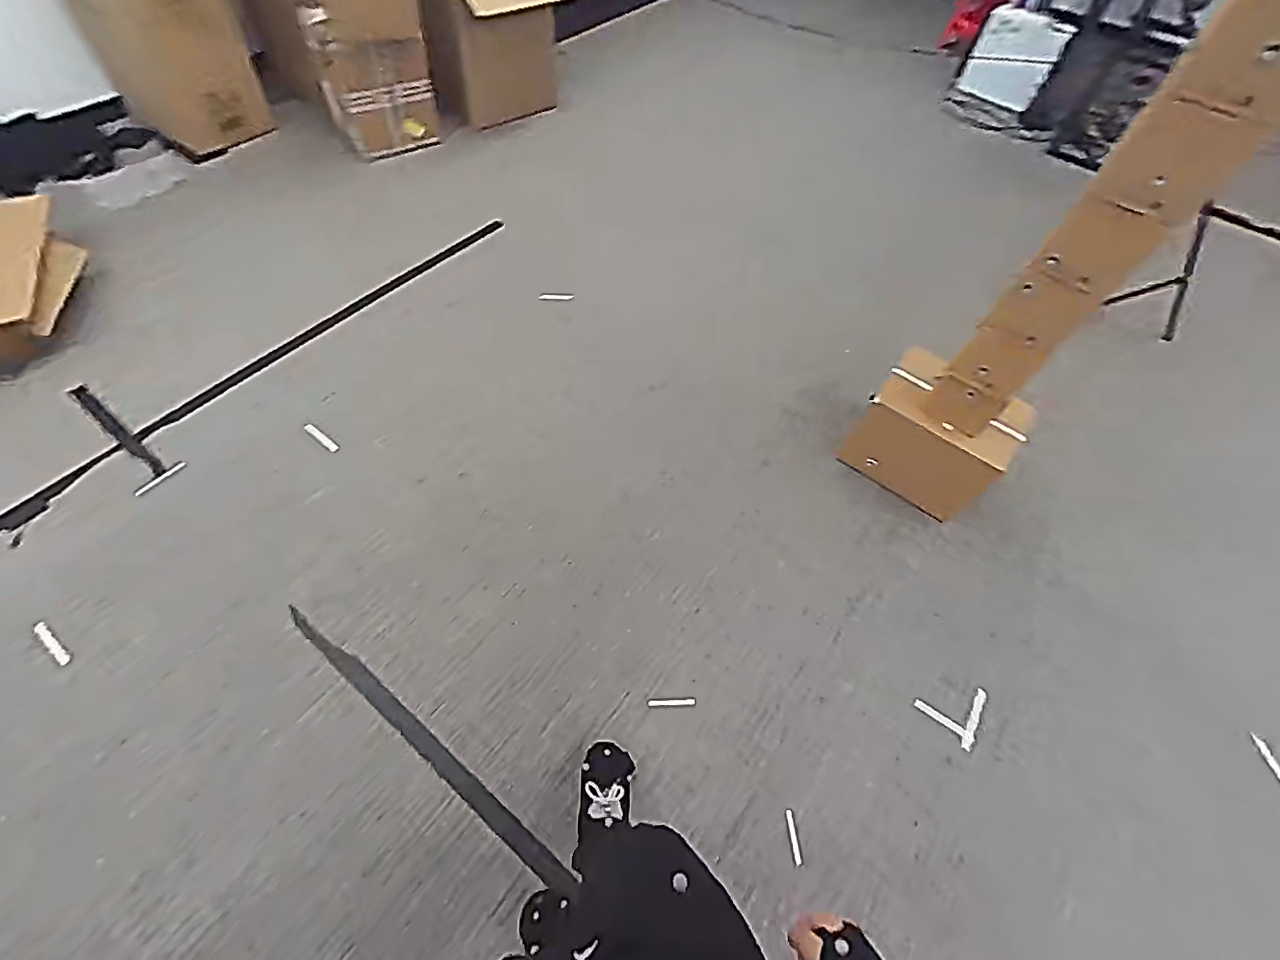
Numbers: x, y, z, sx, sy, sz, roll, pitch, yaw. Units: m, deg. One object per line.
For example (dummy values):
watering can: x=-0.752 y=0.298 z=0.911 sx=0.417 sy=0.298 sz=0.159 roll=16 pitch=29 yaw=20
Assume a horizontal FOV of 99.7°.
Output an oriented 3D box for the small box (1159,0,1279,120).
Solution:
small box: x=0.965 y=-0.696 z=0.836 sx=0.168 sy=0.176 sz=0.179 roll=32 pitch=63 yaw=15

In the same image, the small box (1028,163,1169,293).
small box: x=0.949 y=-0.519 z=1.113 sx=0.168 sy=0.176 sz=0.179 roll=35 pitch=62 yaw=17

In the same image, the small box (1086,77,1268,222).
small box: x=0.957 y=-0.605 z=0.973 sx=0.168 sy=0.176 sz=0.179 roll=33 pitch=63 yaw=16

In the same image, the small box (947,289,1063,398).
small box: x=0.931 y=-0.348 z=1.392 sx=0.168 sy=0.176 sz=0.179 roll=33 pitch=63 yaw=16

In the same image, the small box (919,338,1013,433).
small box: x=0.929 y=-0.265 z=1.532 sx=0.179 sy=0.176 sz=0.168 roll=33 pitch=62 yaw=15
